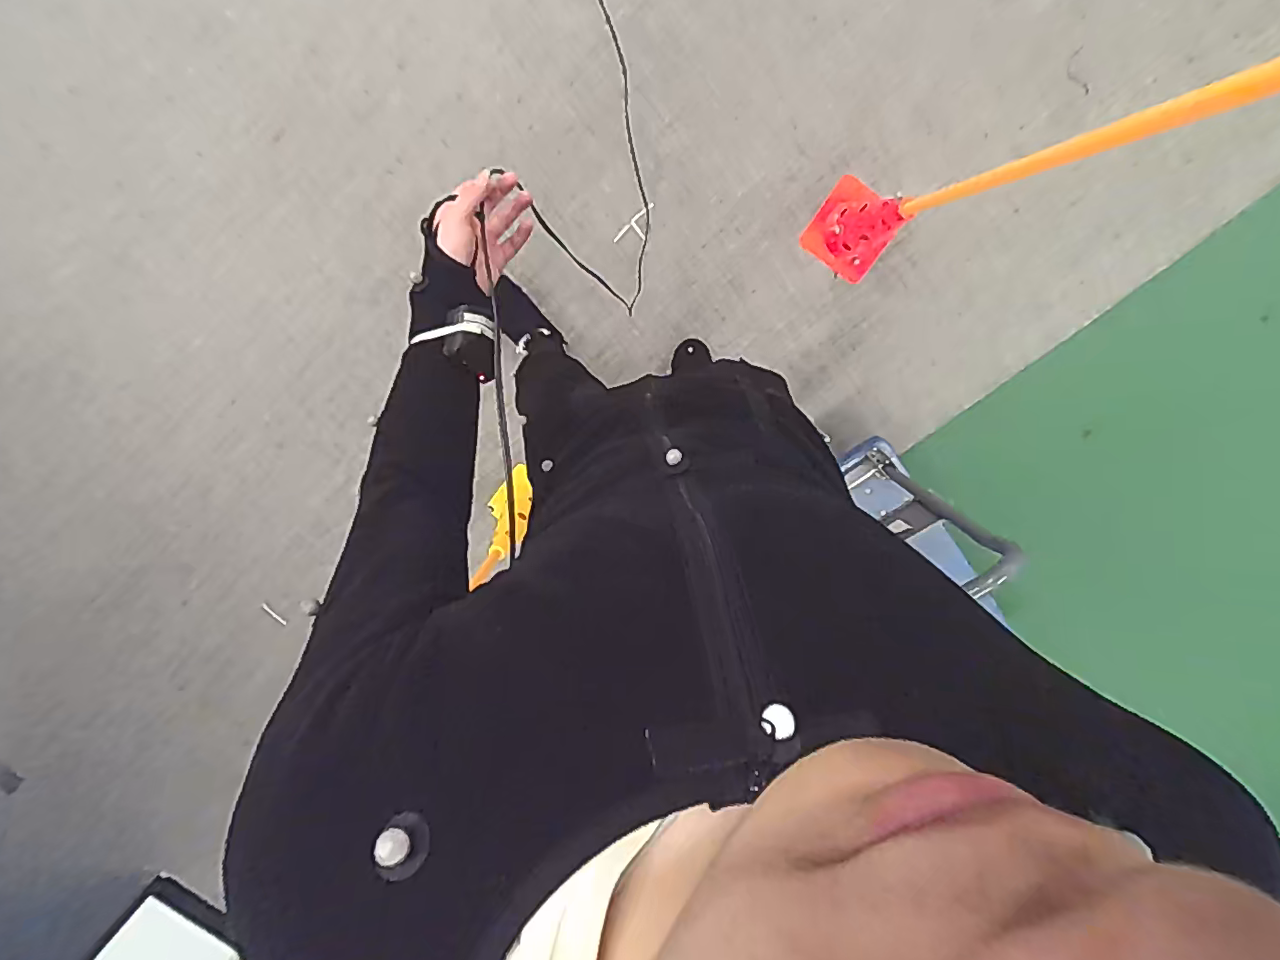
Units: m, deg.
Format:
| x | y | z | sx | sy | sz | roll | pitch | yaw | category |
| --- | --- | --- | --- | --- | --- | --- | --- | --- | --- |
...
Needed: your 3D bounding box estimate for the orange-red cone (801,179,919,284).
| x | y | z | sx | sy | sz | roll | pitch | yaw | category |
| --- | --- | --- | --- | --- | --- | --- | --- | --- | --- |
| 0.540 | -0.589 | 1.238 | 0.198 | 0.360 | 0.199 | 34 | 105 | -9 | orange-red cone |
